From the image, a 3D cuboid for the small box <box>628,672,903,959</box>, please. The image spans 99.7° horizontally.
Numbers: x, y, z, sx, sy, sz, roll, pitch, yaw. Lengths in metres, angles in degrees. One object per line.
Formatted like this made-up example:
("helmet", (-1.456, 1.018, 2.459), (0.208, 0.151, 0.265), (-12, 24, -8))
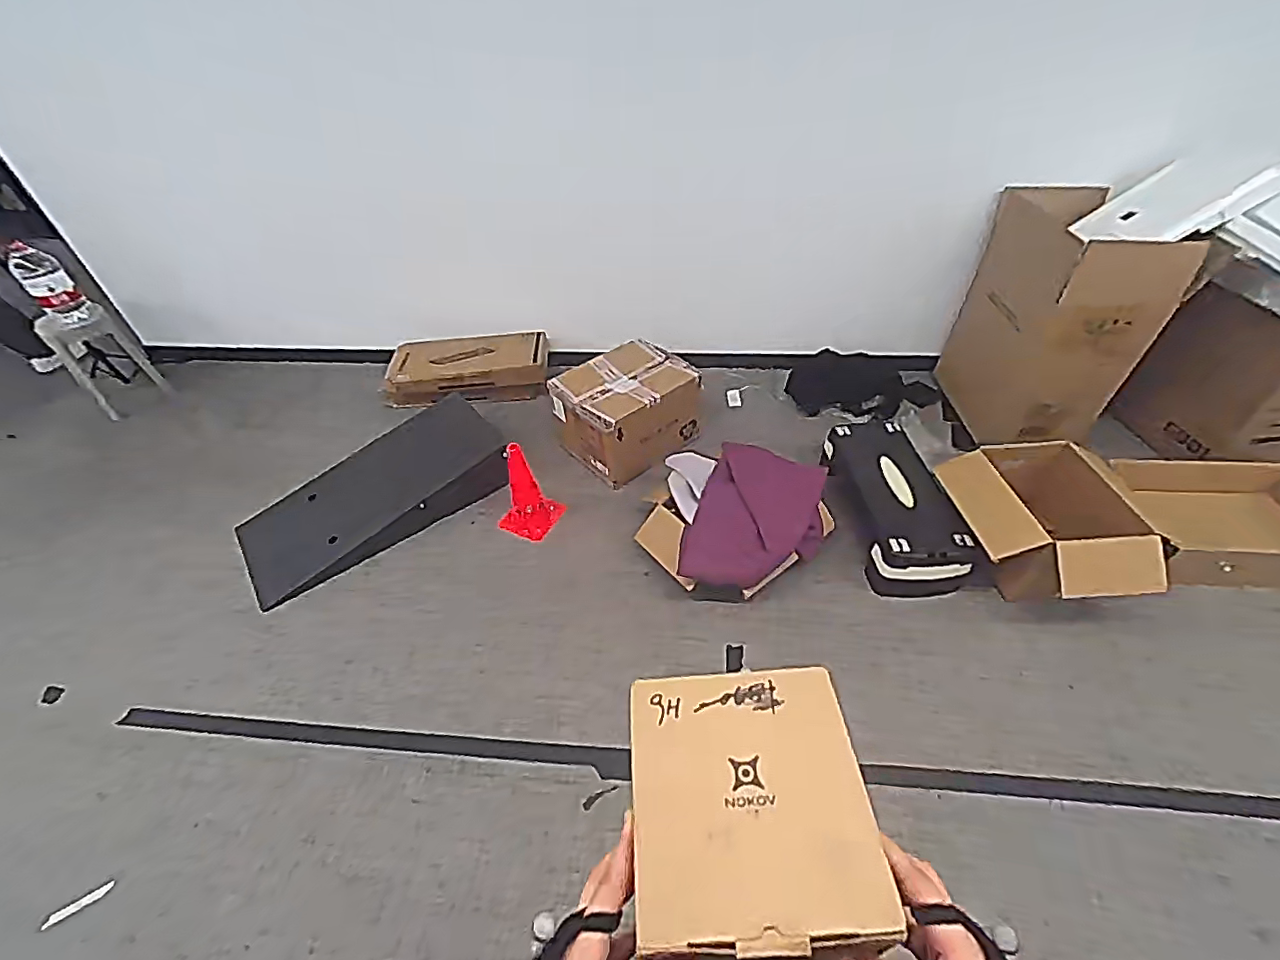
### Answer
("small box", (0.082, 0.281, 0.437), (0.168, 0.176, 0.179), (-5, 43, 2))
